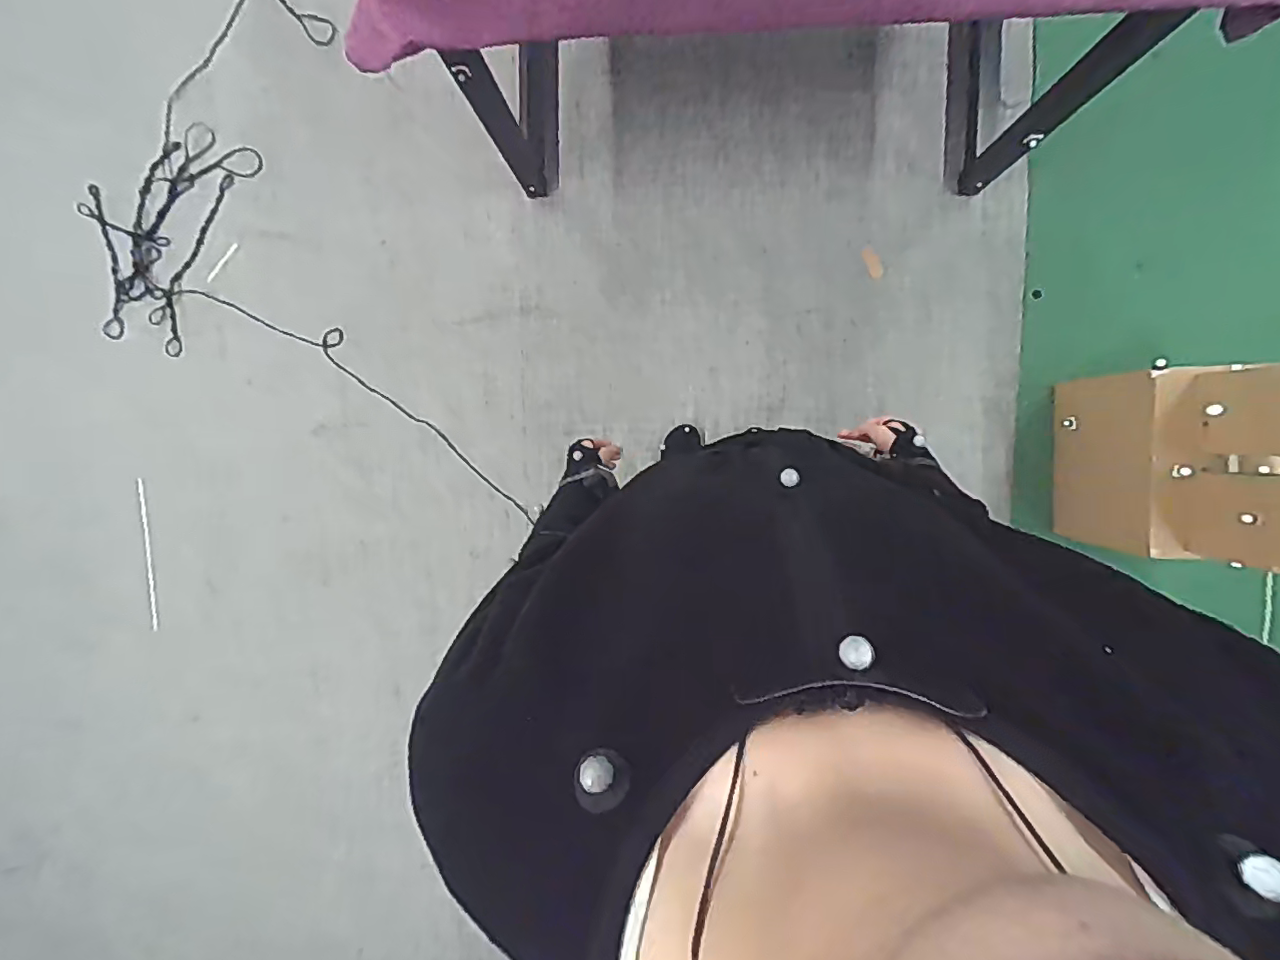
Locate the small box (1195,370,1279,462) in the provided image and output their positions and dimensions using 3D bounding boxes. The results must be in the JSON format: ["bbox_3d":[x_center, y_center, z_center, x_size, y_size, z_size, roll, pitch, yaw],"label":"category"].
[{"bbox_3d":[1.218,-0.124,1.018,0.179,0.176,0.168,-4,93,5],"label":"small box"}]
